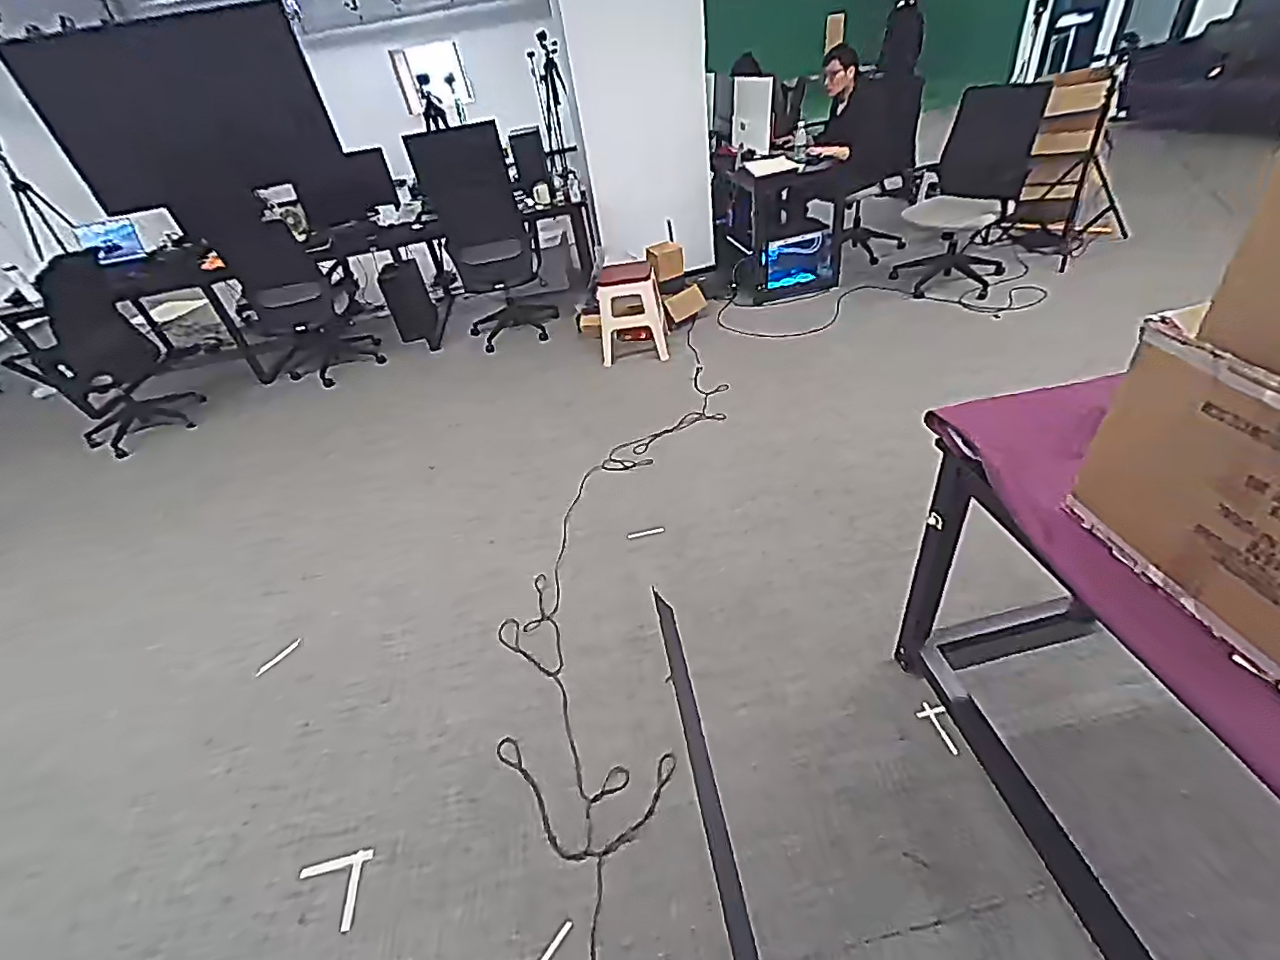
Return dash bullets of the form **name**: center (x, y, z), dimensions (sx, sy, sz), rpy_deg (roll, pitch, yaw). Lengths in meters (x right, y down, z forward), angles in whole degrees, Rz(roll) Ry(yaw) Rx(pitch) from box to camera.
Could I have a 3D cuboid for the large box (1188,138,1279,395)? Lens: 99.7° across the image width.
- **large box**: center (0.855, -0.235, 0.461), dimensions (0.408, 0.320, 0.320), rpy_deg (-12, 34, -1)
